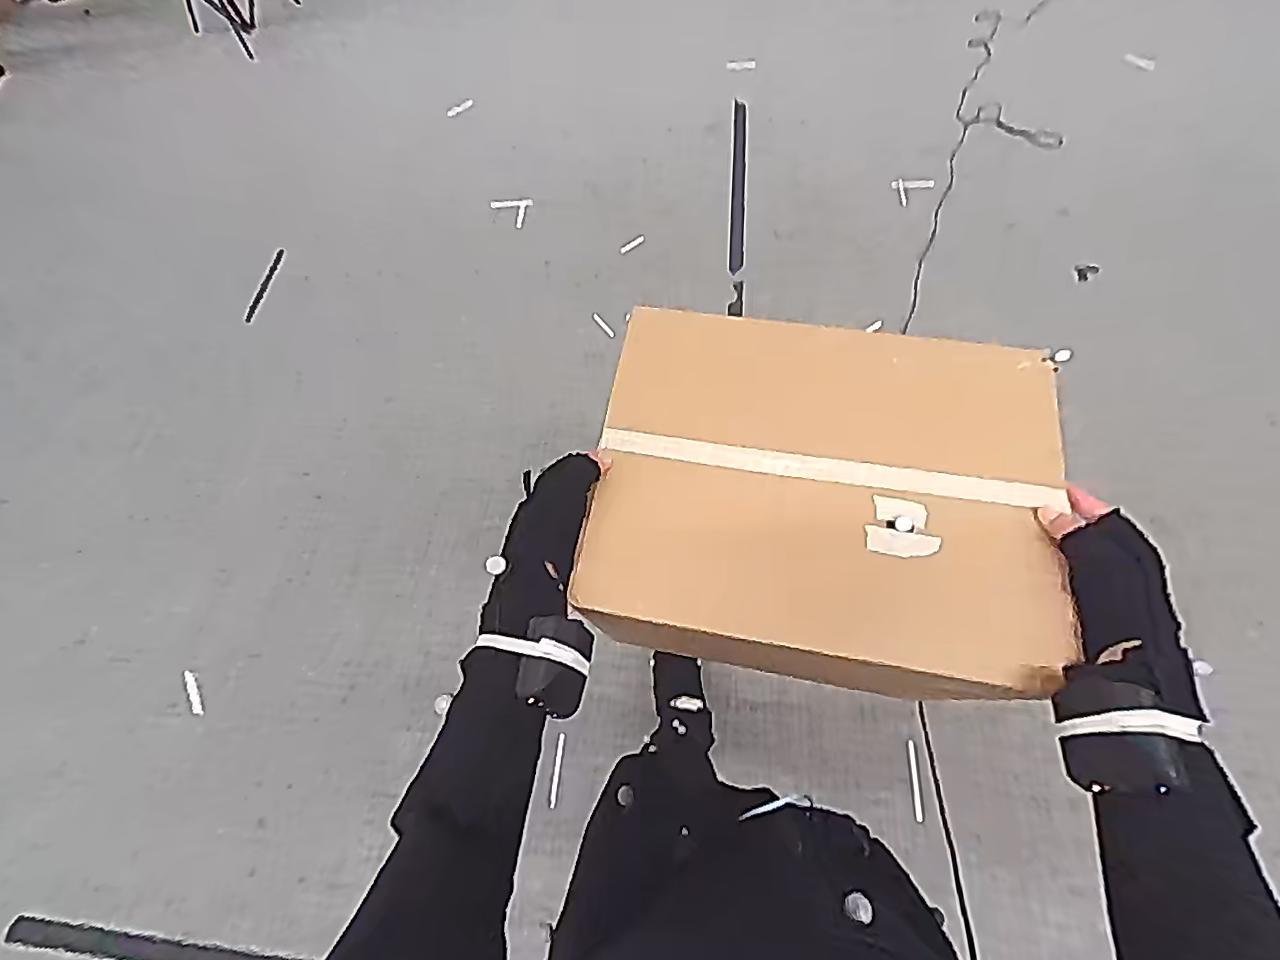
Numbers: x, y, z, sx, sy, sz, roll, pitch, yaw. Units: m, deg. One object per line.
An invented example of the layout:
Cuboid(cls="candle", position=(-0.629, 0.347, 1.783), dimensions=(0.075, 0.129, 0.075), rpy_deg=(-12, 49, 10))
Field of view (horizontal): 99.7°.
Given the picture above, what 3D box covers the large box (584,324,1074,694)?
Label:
Cuboid(cls="large box", position=(0.176, 0.054, 0.633), dimensions=(0.408, 0.320, 0.320), rpy_deg=(8, 70, 7))
